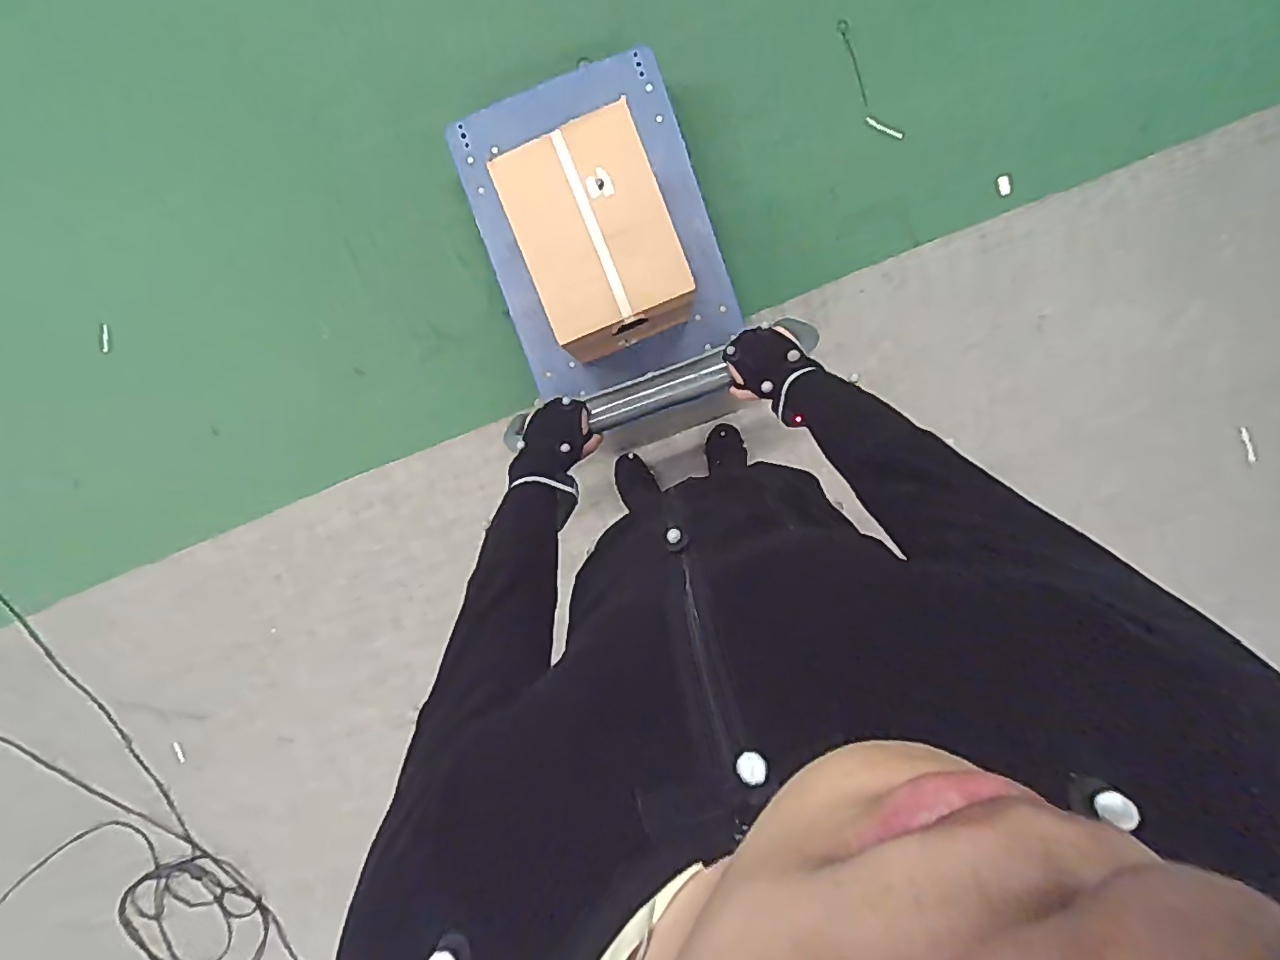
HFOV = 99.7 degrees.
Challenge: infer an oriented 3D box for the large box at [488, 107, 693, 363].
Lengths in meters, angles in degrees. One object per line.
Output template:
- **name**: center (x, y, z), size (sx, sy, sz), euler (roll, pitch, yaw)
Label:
- **large box**: center (-0.093, -0.535, 1.271), size (0.320, 0.320, 0.408), euler (-22, 94, 4)
